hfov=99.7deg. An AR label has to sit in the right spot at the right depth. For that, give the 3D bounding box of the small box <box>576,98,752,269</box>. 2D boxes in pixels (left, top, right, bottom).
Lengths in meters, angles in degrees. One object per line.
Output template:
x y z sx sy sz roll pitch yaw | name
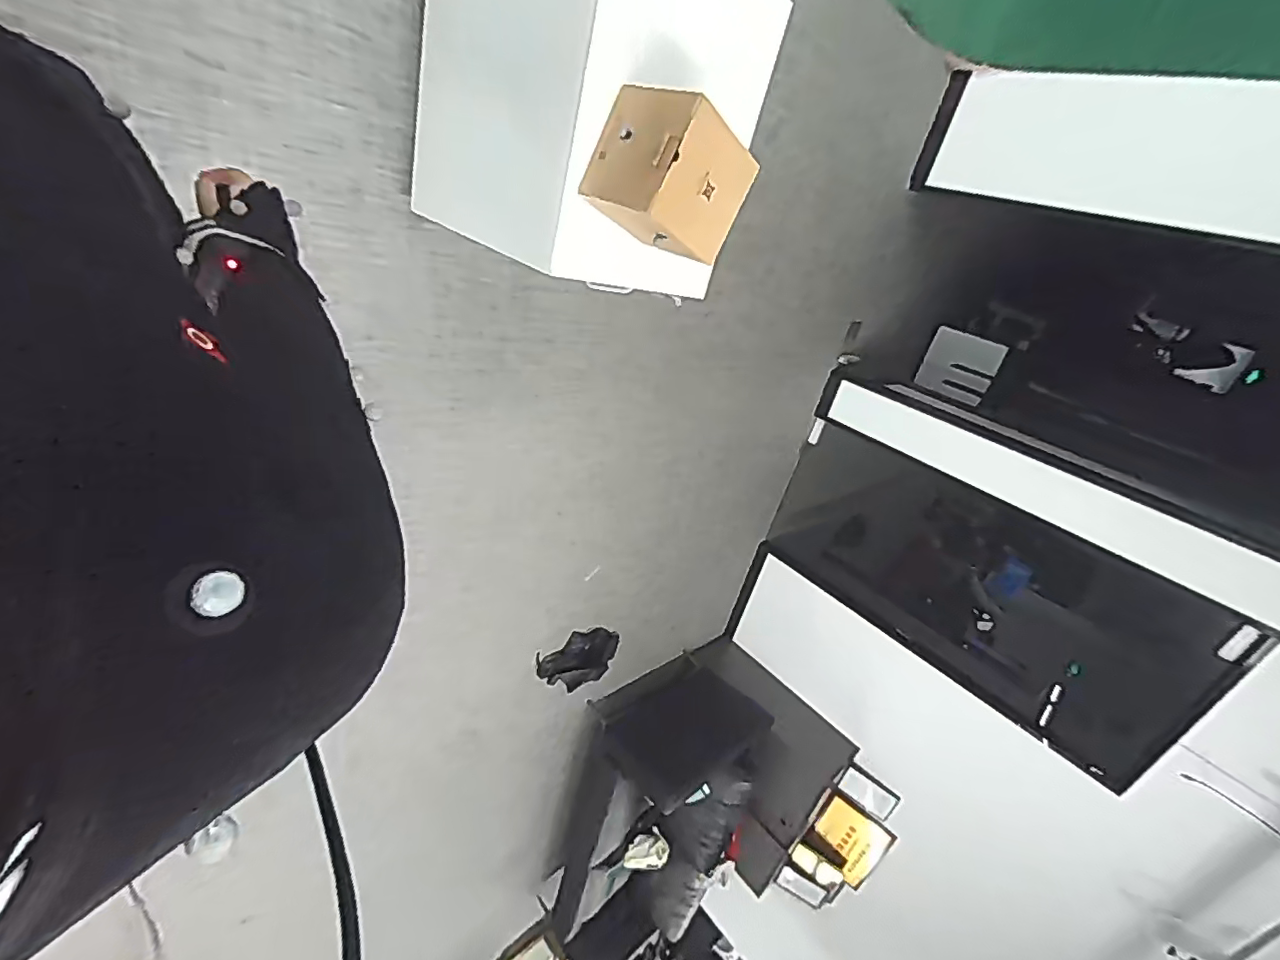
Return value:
0.036 -0.461 0.842 0.179 0.176 0.168 10 111 -52 | small box
